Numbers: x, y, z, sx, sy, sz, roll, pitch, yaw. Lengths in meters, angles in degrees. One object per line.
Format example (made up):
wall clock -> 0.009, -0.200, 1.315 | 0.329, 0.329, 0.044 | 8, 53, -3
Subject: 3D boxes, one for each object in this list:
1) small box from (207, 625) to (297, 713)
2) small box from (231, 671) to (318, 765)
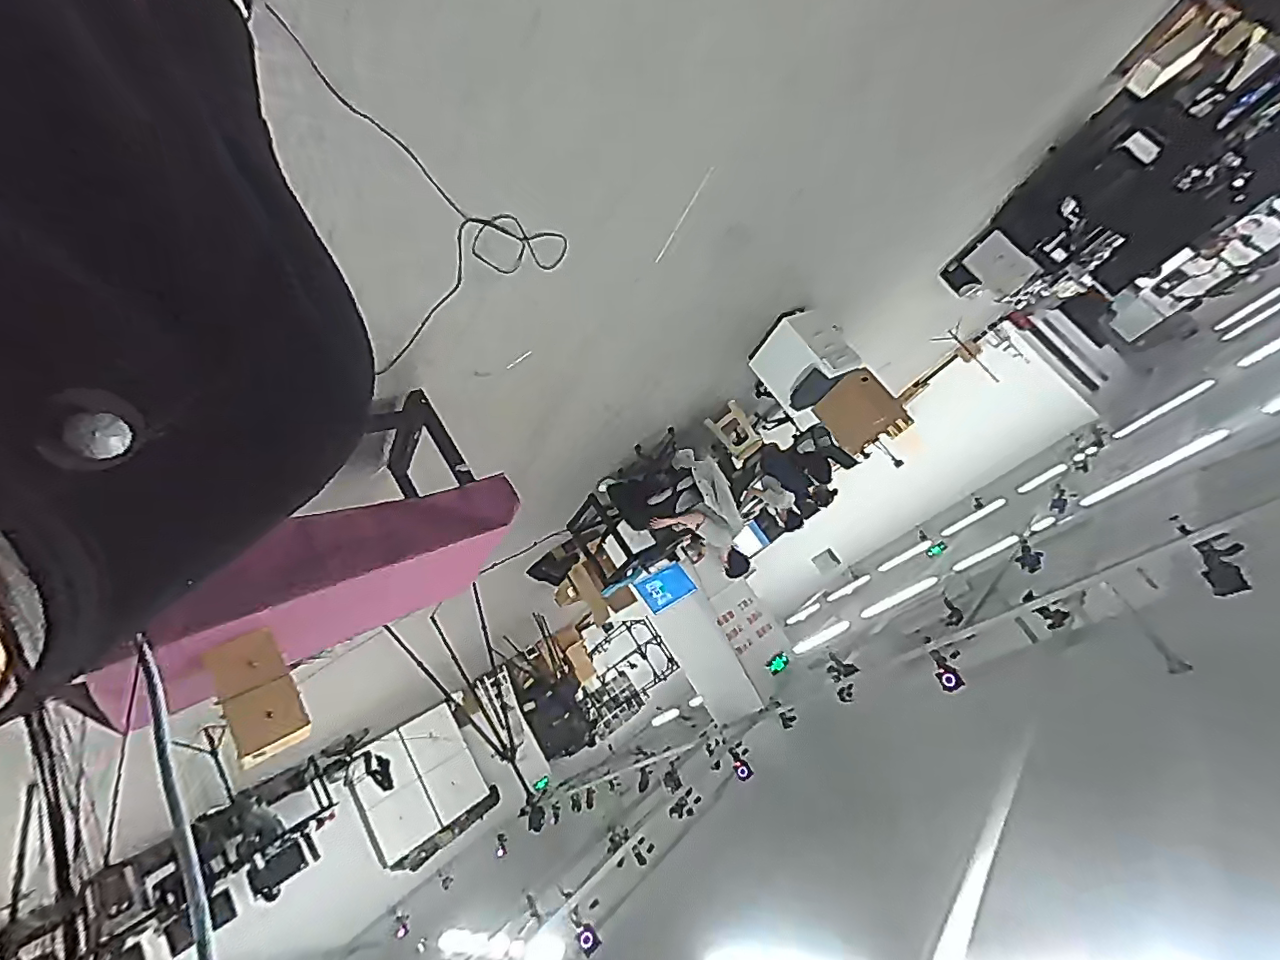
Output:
small box -> -1.168, 0.565, 1.632 | 0.179, 0.176, 0.168 | -22, 160, -41
small box -> -1.075, 0.694, 1.587 | 0.179, 0.176, 0.168 | -21, 160, -42
